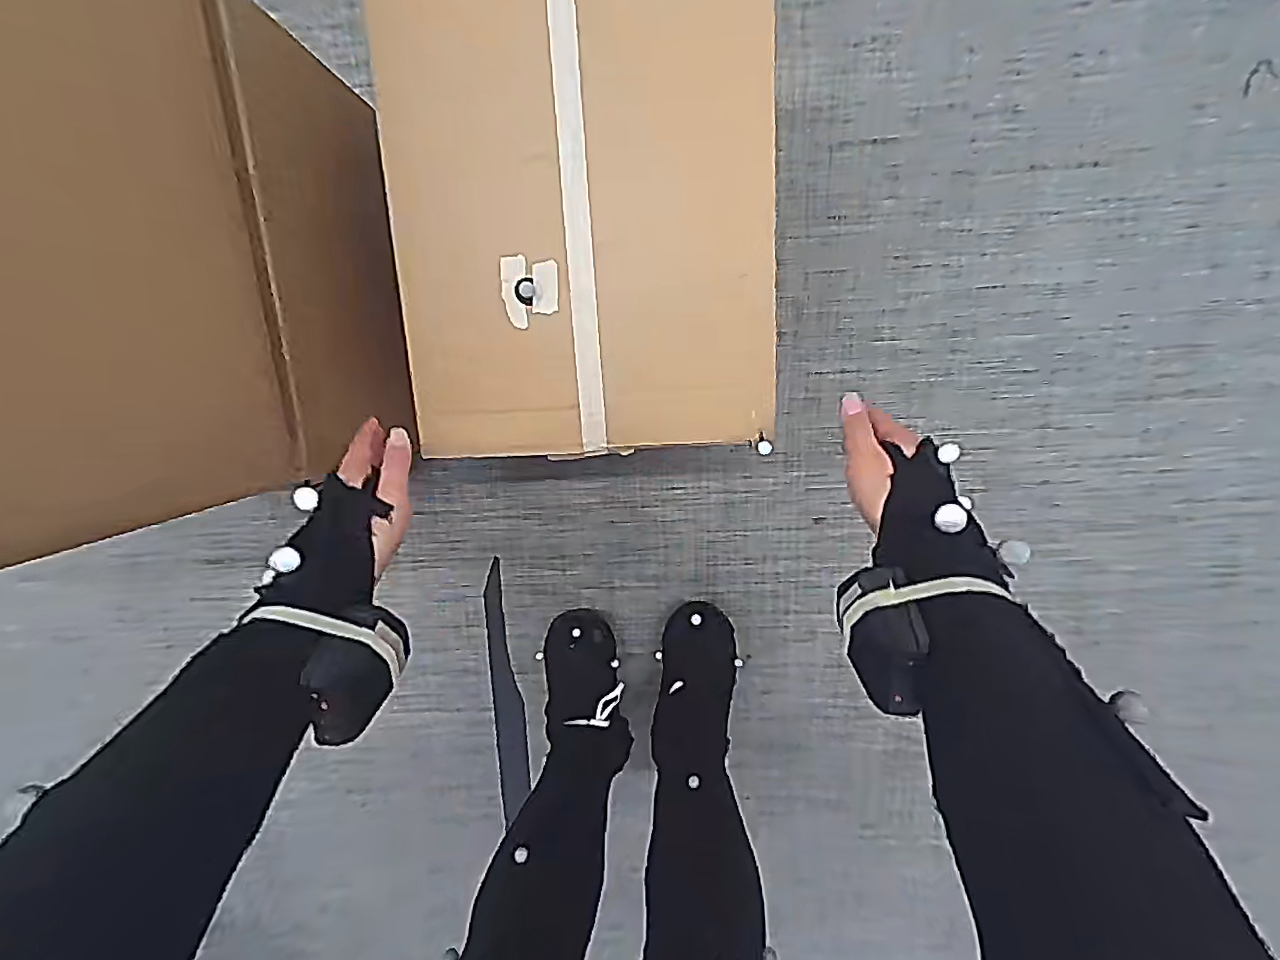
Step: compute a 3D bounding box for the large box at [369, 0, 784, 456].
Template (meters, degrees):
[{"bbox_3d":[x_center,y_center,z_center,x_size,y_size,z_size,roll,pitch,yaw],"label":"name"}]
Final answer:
[{"bbox_3d":[-0.037,-0.257,0.585,0.320,0.320,0.408,-3,102,4],"label":"large box"}]
